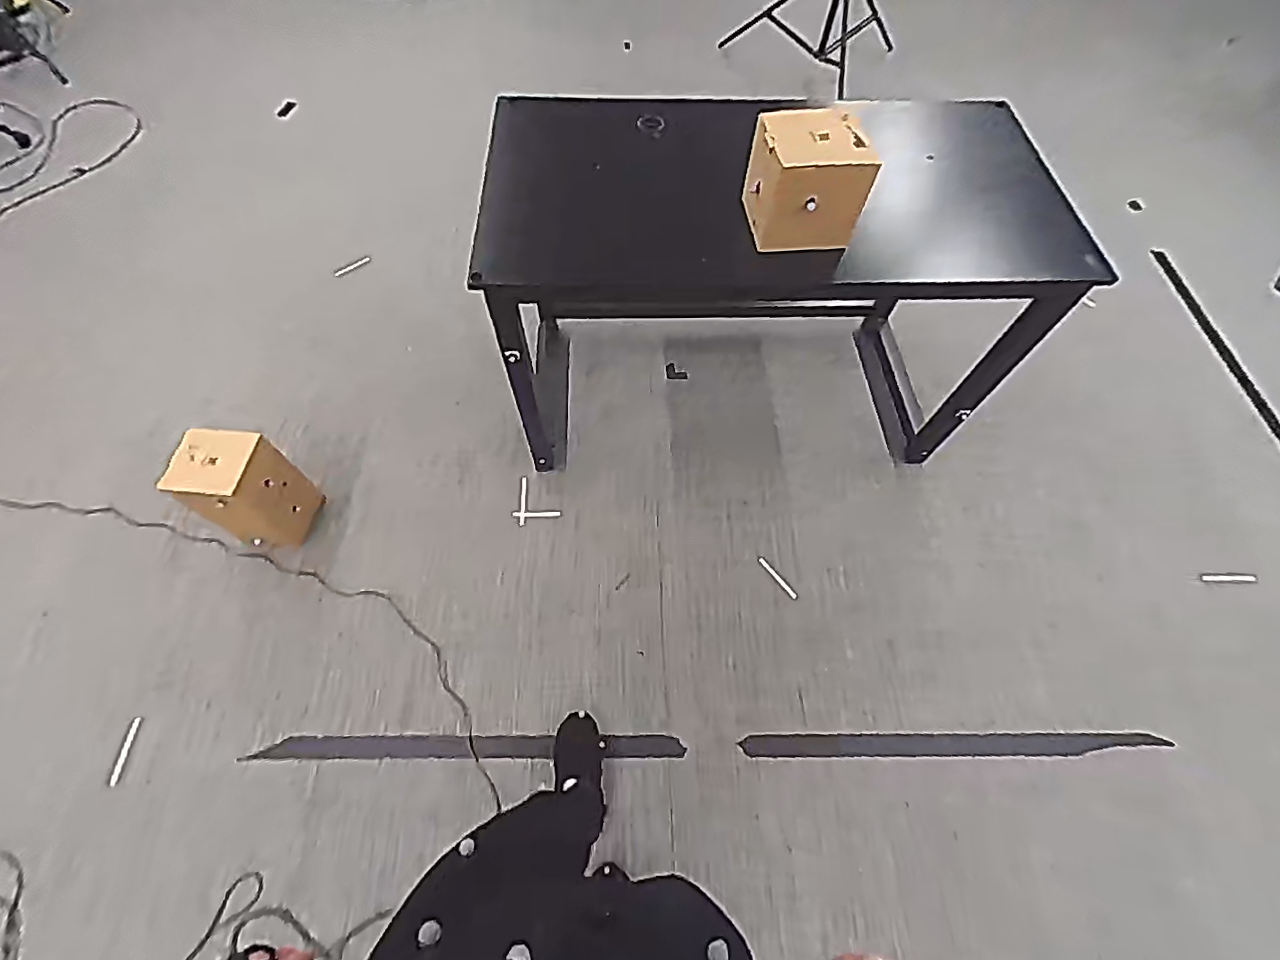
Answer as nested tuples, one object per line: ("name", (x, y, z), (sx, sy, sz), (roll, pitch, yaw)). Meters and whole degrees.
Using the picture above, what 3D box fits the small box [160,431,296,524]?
("small box", (-0.988, -0.001, 1.317), (0.179, 0.176, 0.168), (4, 61, 1))

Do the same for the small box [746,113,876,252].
("small box", (0.301, -0.545, 1.003), (0.179, 0.176, 0.168), (-5, 62, -3))

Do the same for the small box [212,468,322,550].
("small box", (-1.002, 0.071, 1.465), (0.168, 0.176, 0.179), (7, 63, 2))
